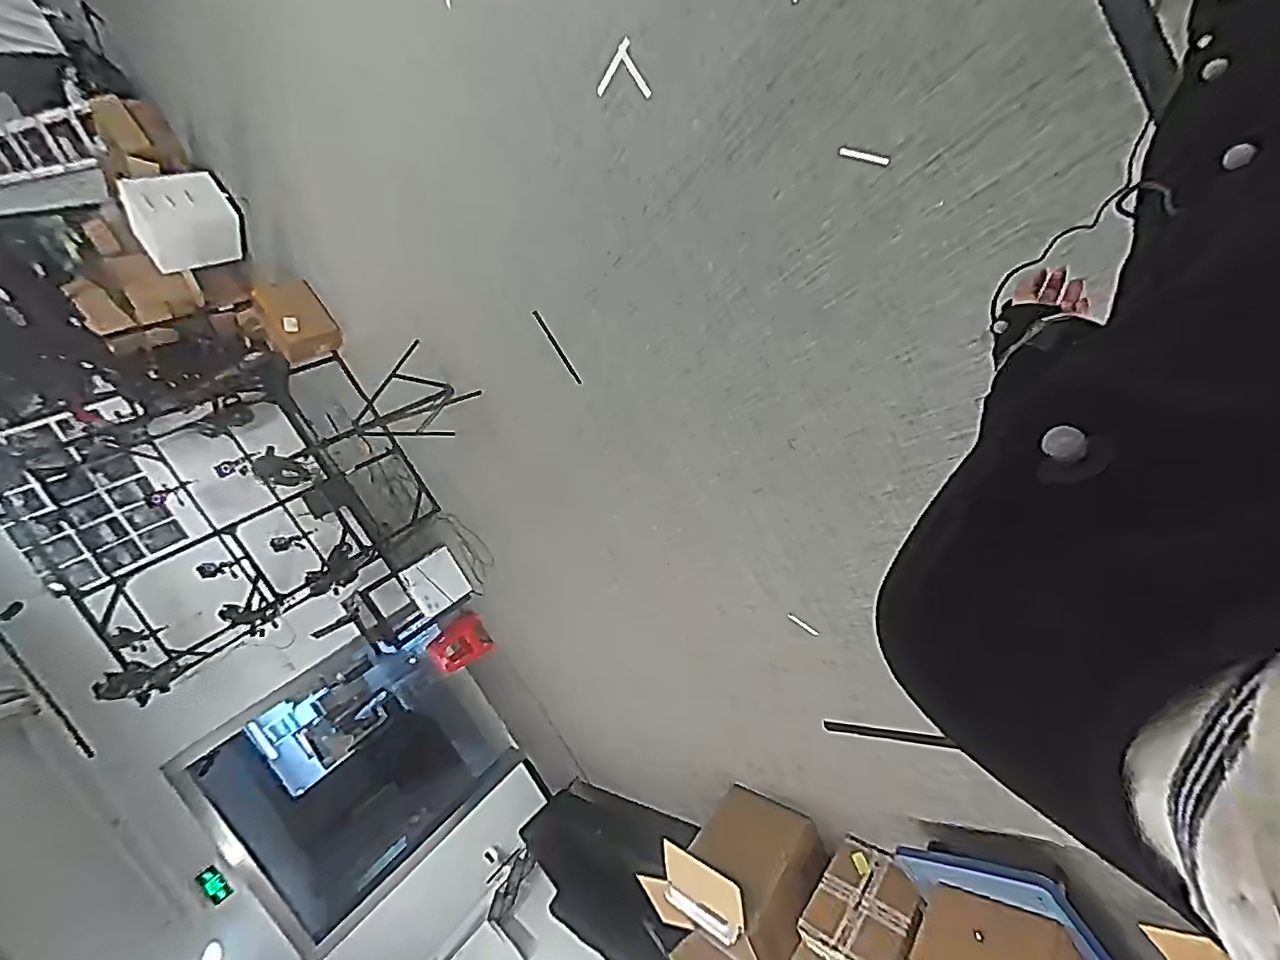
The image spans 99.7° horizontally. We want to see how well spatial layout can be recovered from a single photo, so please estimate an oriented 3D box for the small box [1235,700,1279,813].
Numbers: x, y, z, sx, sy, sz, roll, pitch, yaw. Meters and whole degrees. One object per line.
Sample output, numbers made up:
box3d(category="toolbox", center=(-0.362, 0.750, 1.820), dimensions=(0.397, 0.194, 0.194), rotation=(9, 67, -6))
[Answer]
box3d(category="small box", center=(1.423, 0.597, 1.153), dimensions=(0.179, 0.176, 0.168), rotation=(-18, 105, 53))
